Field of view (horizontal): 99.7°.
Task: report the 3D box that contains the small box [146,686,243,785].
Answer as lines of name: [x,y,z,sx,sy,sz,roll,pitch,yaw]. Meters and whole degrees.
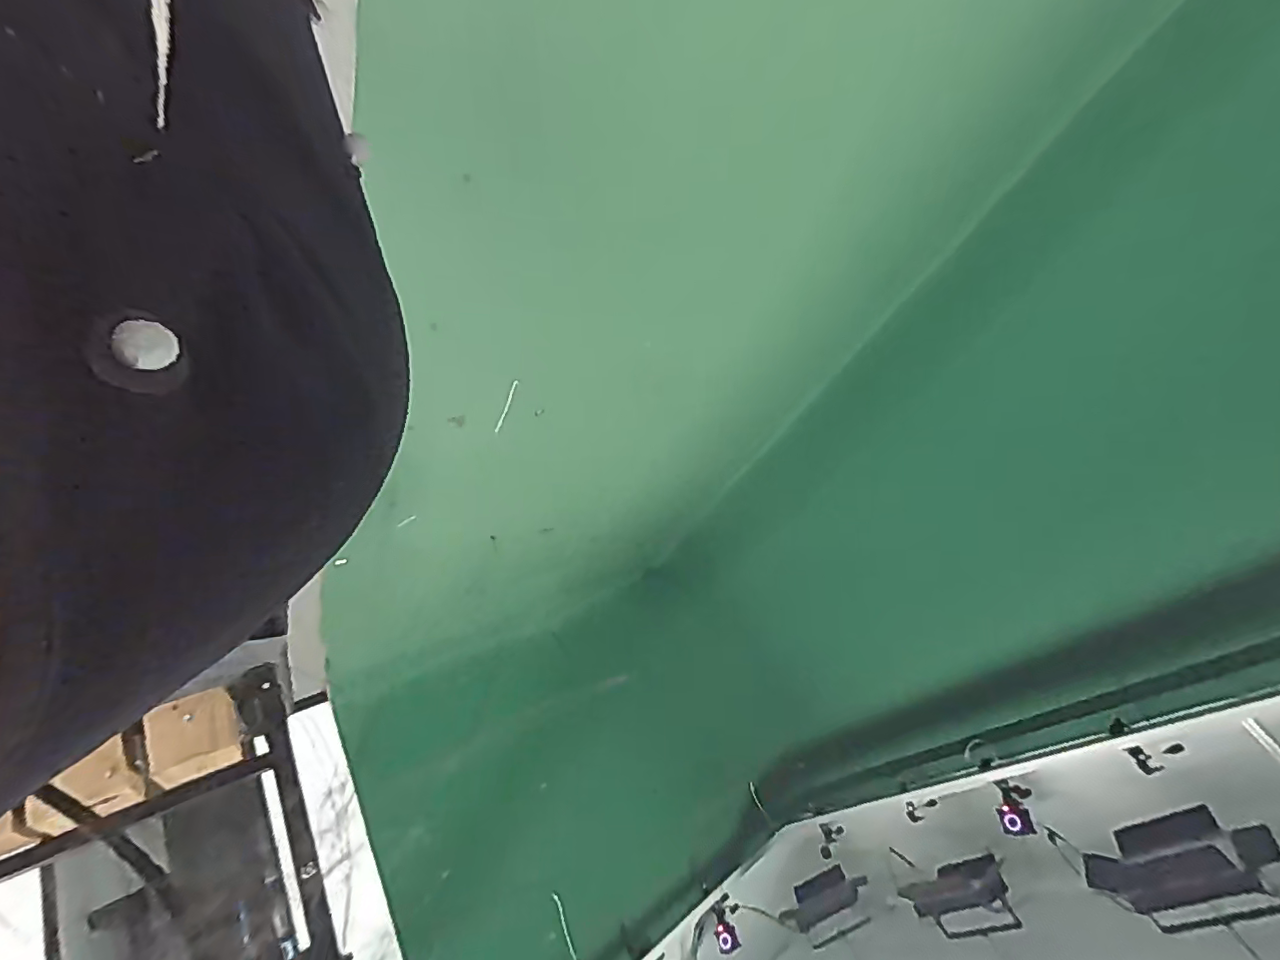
small box: [-1.175,0.671,1.432,0.168,0.176,0.179,-14,152,-37]
